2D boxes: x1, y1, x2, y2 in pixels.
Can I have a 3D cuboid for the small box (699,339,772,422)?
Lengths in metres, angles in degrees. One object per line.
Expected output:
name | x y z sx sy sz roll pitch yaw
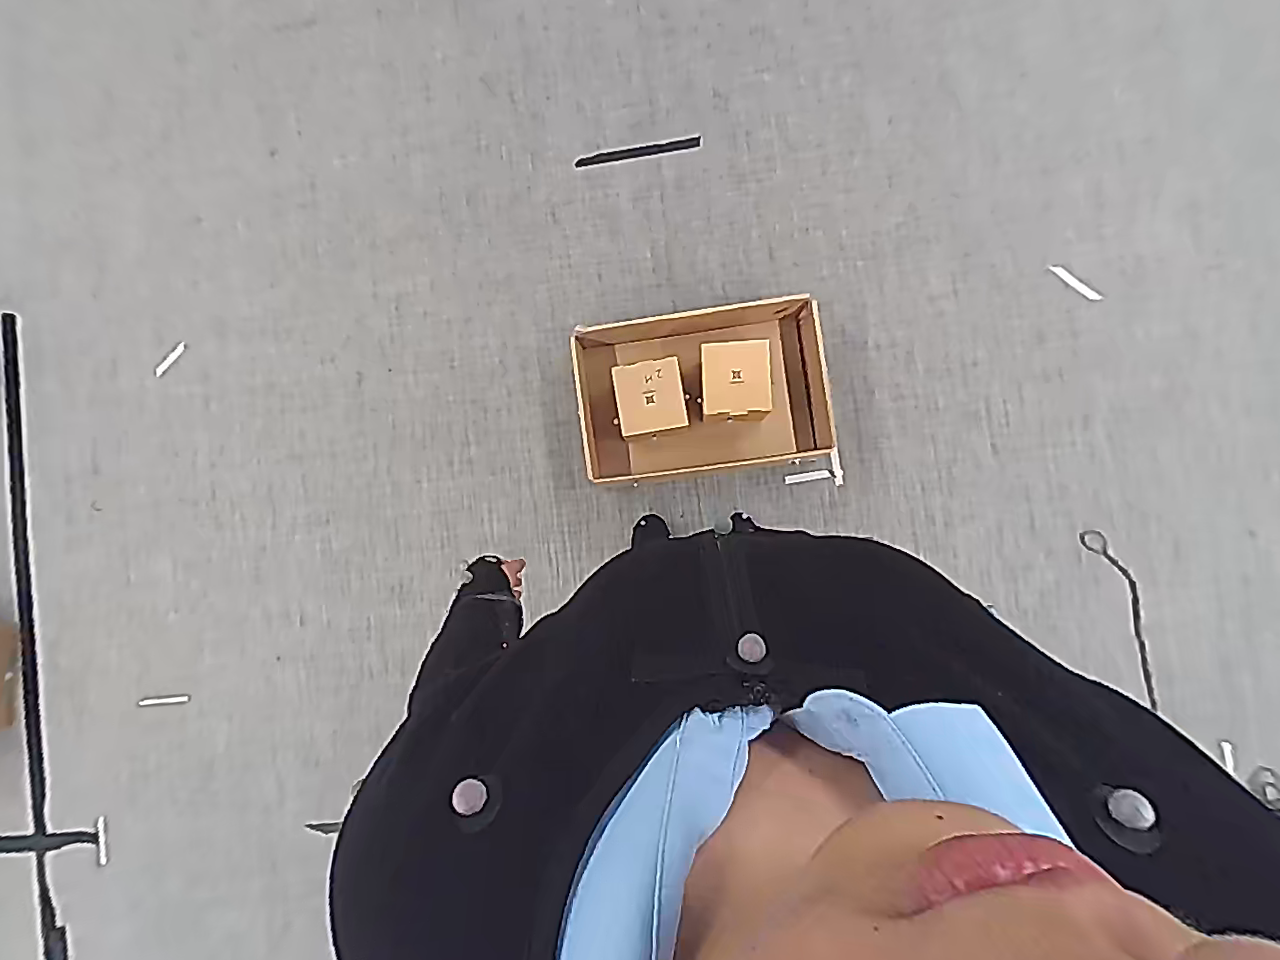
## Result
small box | 0.240 -0.249 1.388 0.168 0.176 0.179 -2 88 4

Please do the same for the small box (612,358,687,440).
small box | 0.027 -0.201 1.397 0.168 0.176 0.179 -9 88 2
